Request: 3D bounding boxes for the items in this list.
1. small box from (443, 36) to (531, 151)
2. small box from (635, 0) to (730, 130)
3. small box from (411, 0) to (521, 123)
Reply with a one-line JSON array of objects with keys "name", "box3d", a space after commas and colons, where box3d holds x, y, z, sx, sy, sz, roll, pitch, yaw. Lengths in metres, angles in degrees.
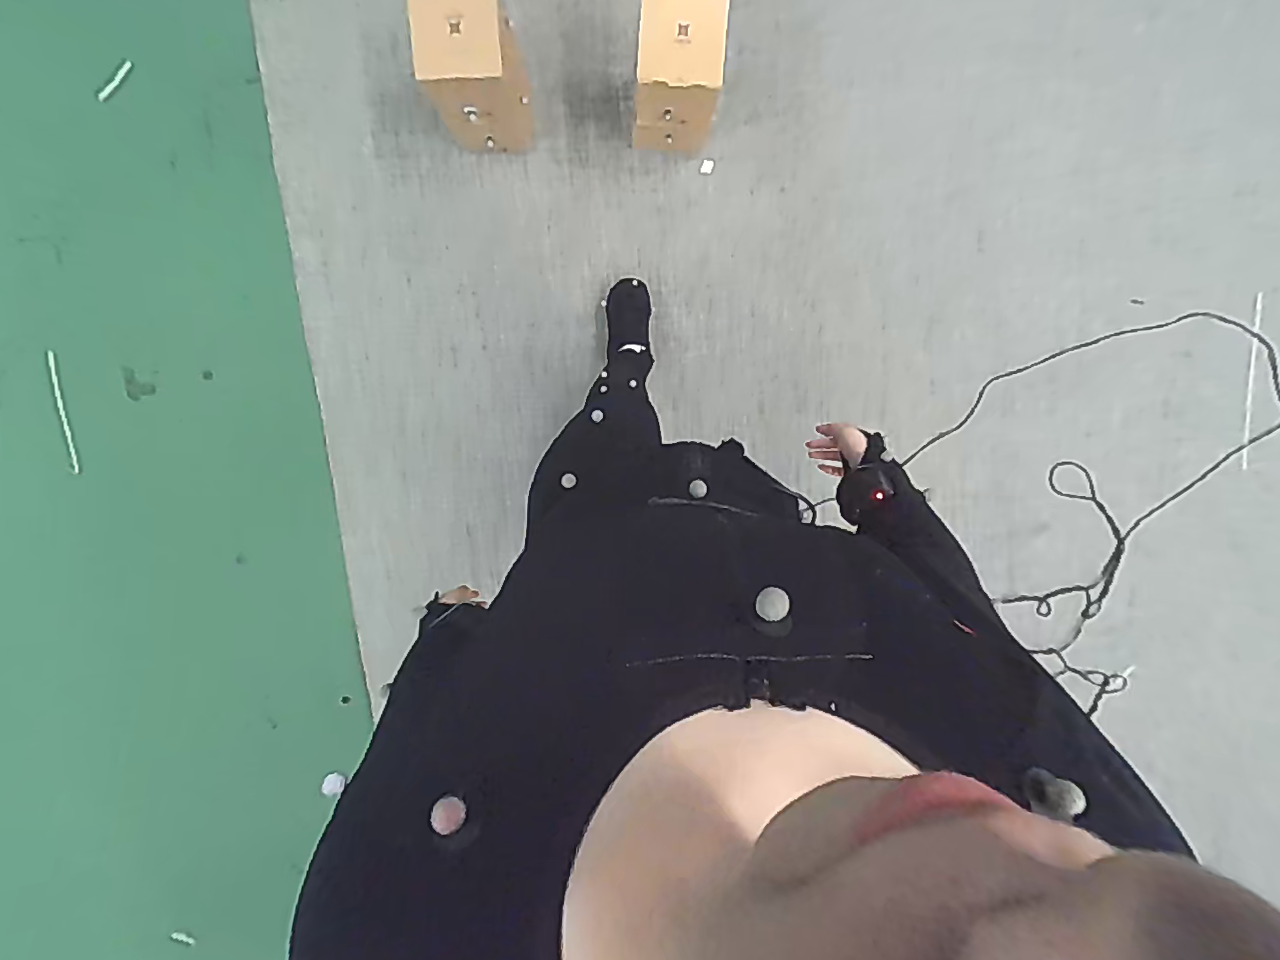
[{"name": "small box", "box3d": [-0.348, -0.881, 1.243, 0.168, 0.176, 0.179, 0, 101, -2]}, {"name": "small box", "box3d": [0.078, -0.848, 1.094, 0.168, 0.176, 0.179, 3, 101, -2]}, {"name": "small box", "box3d": [-0.341, -0.851, 1.083, 0.168, 0.176, 0.179, -3, 101, 0]}]
